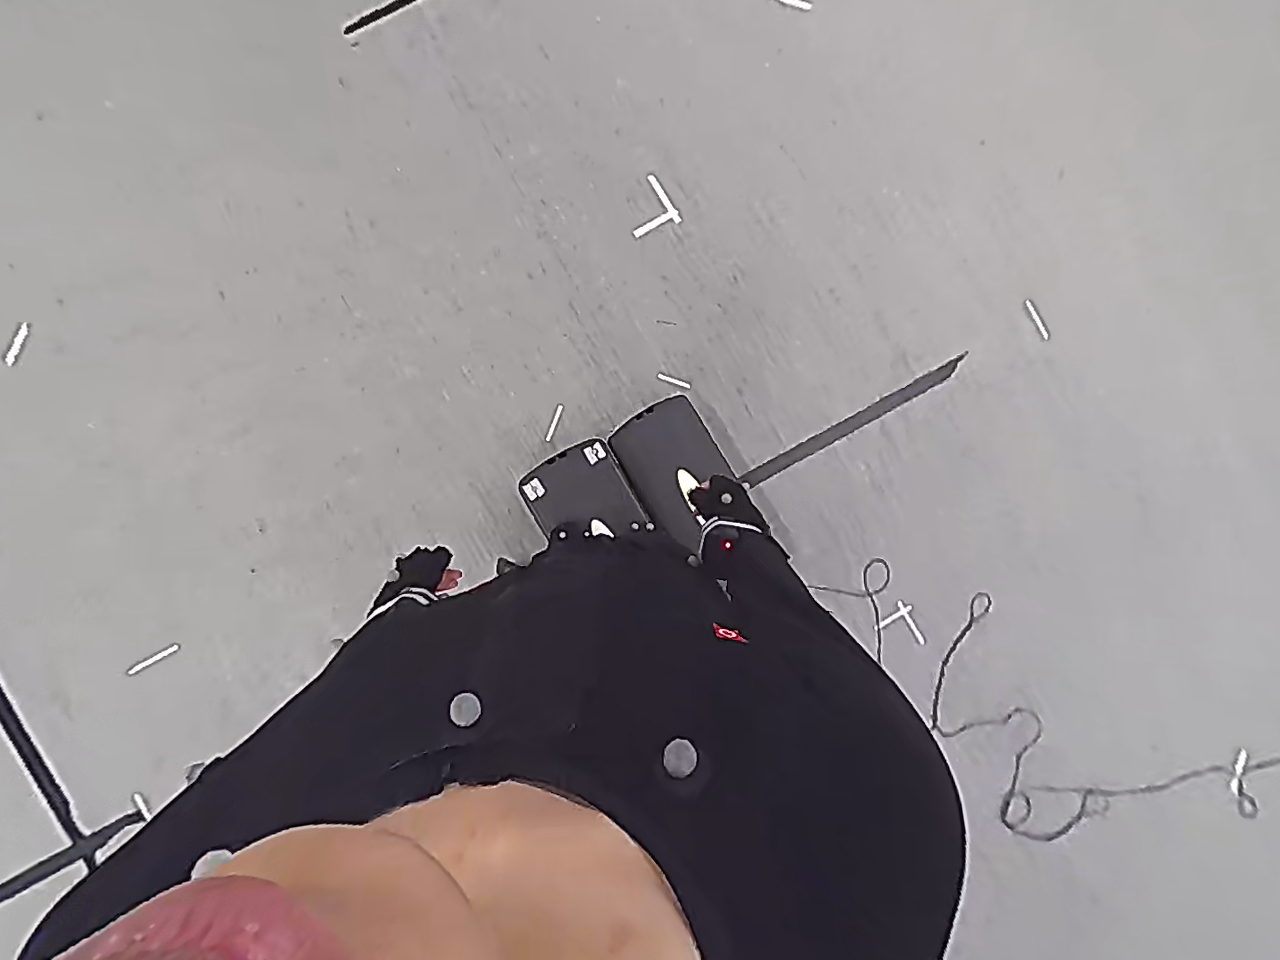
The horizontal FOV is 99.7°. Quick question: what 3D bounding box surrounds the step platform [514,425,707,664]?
[{"bbox_3d":[-0.086,0.183,1.580,0.286,0.204,0.684,-31,89,-4],"label":"step platform"}]
